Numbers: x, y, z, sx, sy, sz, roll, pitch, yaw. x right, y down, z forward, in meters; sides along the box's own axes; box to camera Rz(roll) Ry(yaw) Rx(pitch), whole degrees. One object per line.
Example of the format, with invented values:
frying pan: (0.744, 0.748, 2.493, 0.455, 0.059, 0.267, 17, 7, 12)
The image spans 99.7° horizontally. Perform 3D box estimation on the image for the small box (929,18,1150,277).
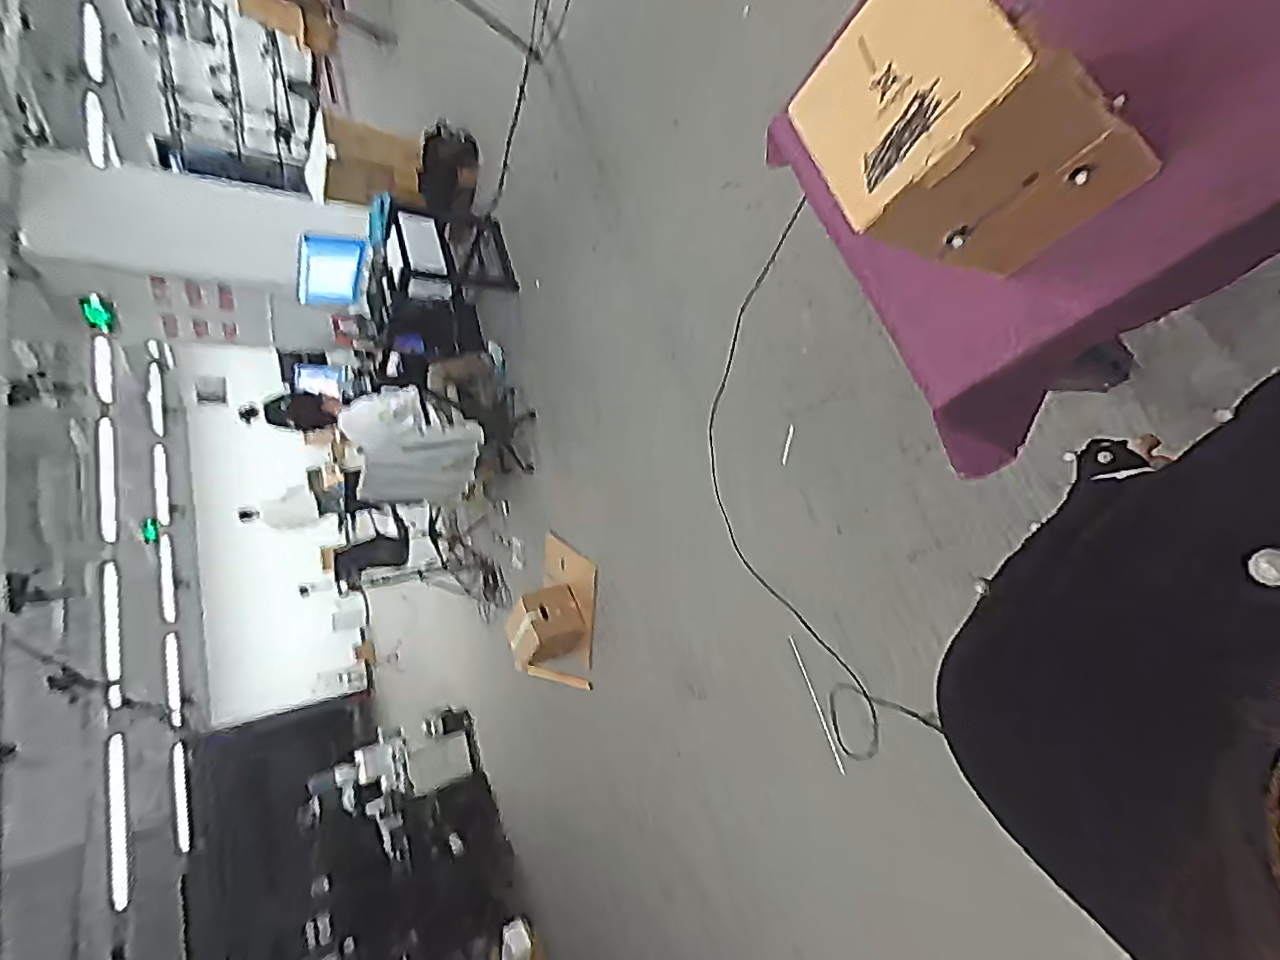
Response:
small box: (0.431, -0.365, 0.632, 0.179, 0.176, 0.168, -40, 62, 49)

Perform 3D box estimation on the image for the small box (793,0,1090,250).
small box: (0.295, -0.356, 0.540, 0.168, 0.176, 0.179, -41, 61, 49)
